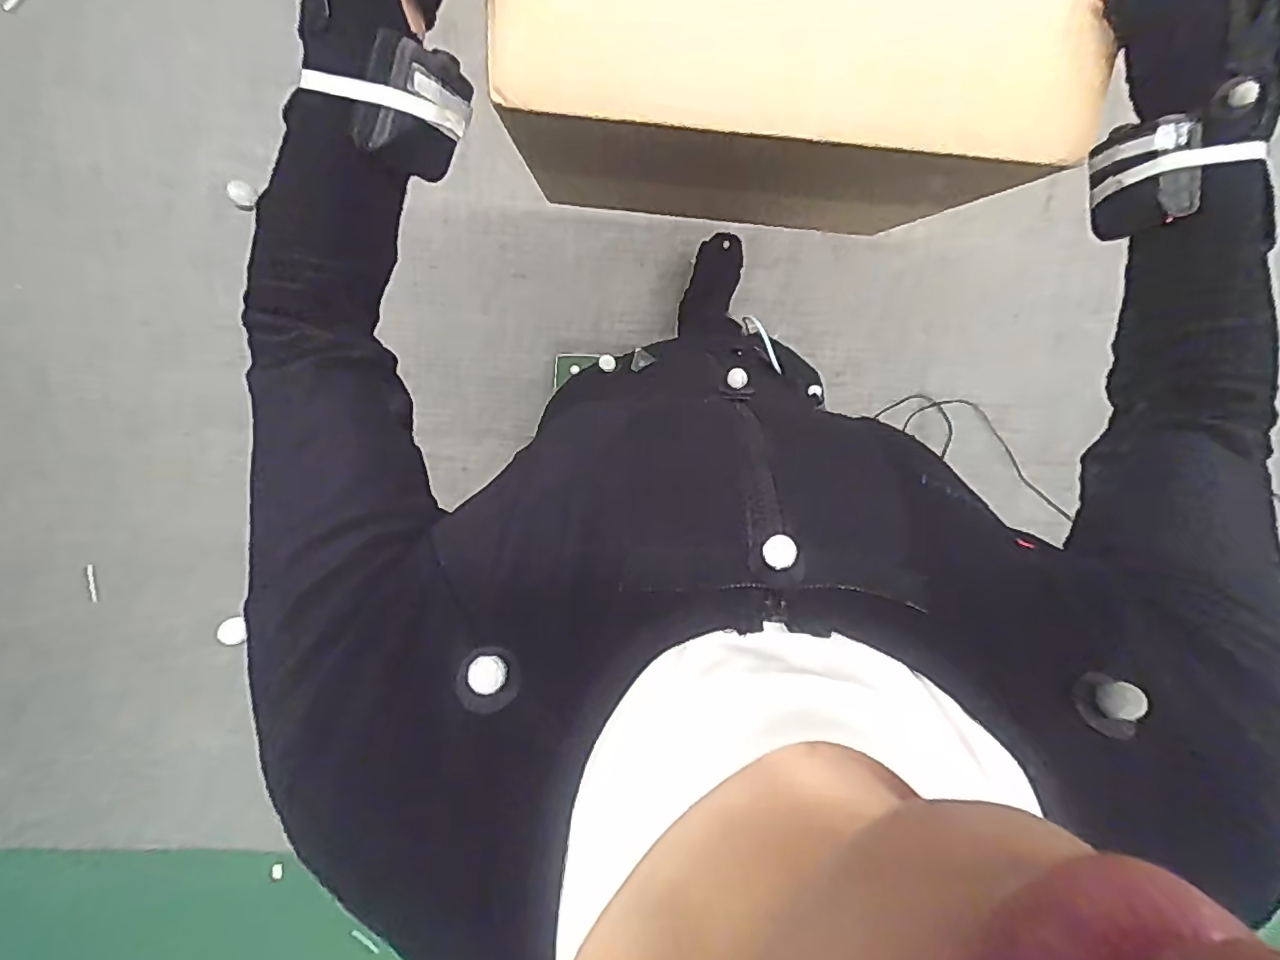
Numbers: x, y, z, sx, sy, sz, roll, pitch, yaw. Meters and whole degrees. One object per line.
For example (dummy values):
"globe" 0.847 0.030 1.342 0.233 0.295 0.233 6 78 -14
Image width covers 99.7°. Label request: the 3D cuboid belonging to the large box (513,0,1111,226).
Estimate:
"large box" 0.110 -0.427 0.475 0.408 0.320 0.320 3 106 -4
